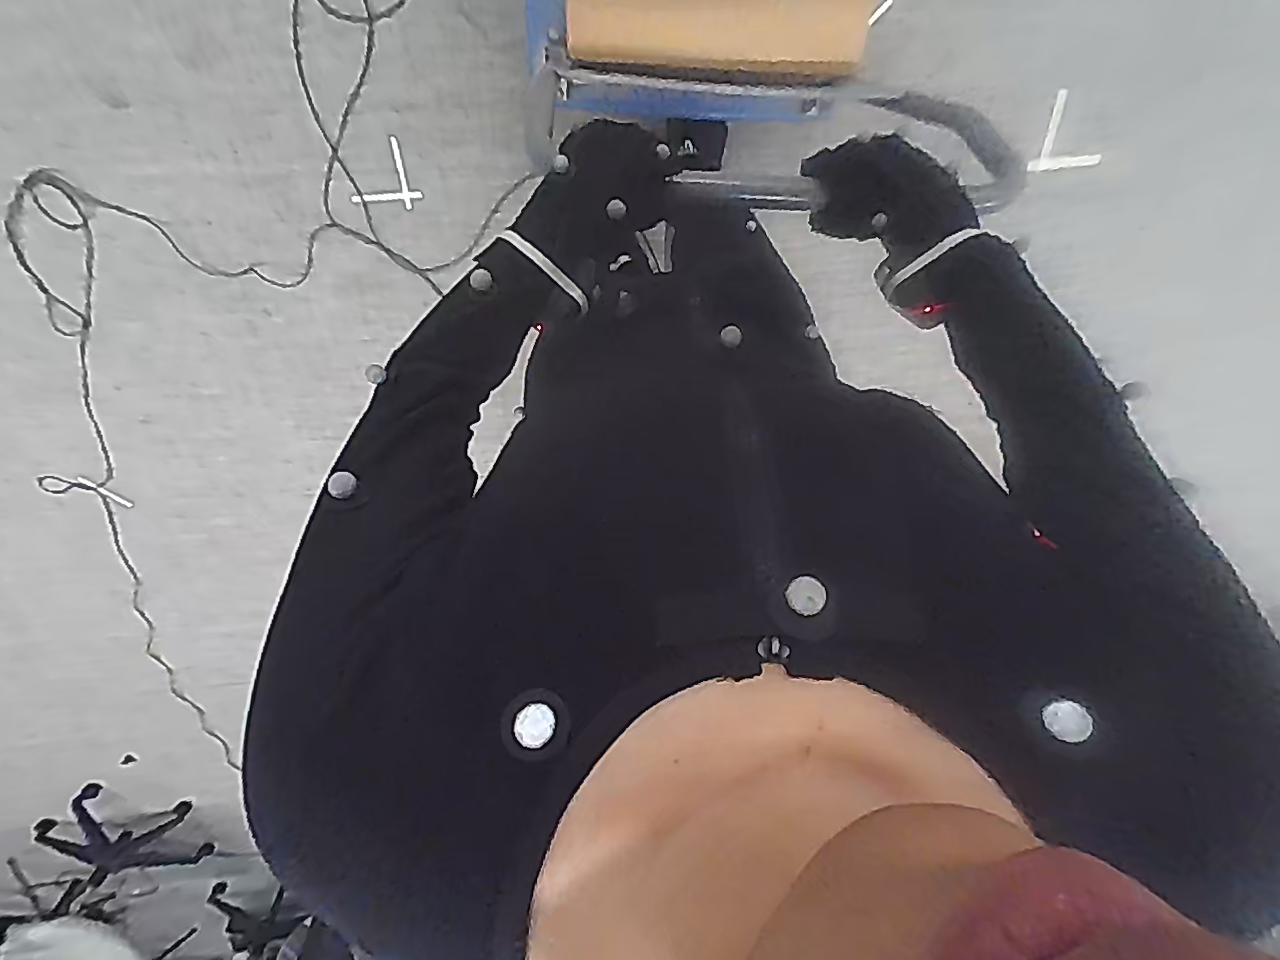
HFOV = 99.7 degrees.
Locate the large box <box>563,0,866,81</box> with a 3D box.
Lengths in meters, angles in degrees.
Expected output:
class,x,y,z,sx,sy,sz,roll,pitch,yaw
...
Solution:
class,x,y,z,sx,sy,sz,roll,pitch,yaw
large box,0.088,-0.767,0.771,0.408,0.320,0.320,-1,127,-6
